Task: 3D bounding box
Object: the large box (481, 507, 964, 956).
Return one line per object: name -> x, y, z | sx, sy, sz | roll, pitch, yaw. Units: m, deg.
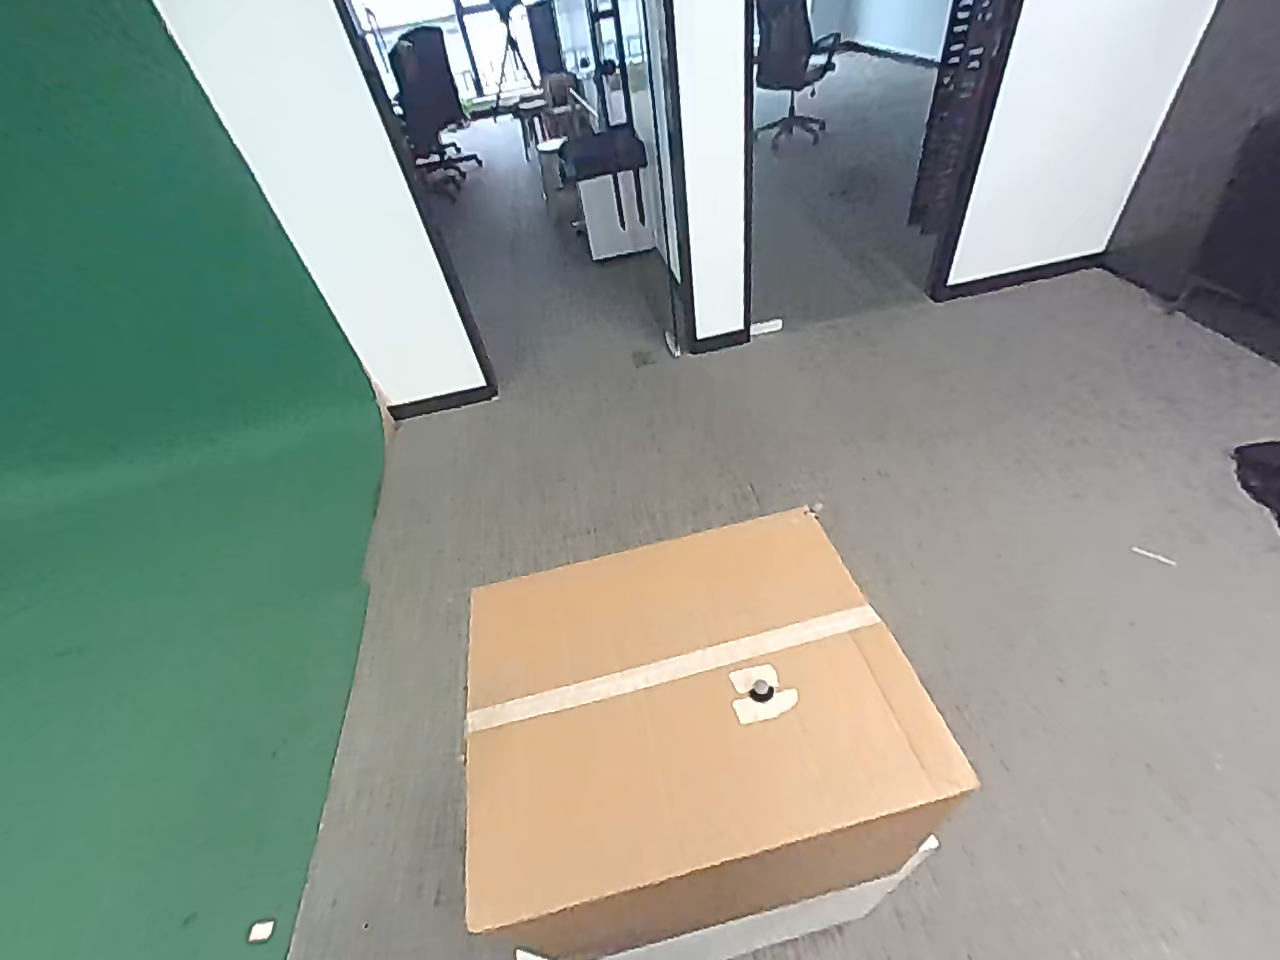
large box -> 0.058, 0.285, 0.630 | 0.408, 0.320, 0.320 | -13, 45, -4
